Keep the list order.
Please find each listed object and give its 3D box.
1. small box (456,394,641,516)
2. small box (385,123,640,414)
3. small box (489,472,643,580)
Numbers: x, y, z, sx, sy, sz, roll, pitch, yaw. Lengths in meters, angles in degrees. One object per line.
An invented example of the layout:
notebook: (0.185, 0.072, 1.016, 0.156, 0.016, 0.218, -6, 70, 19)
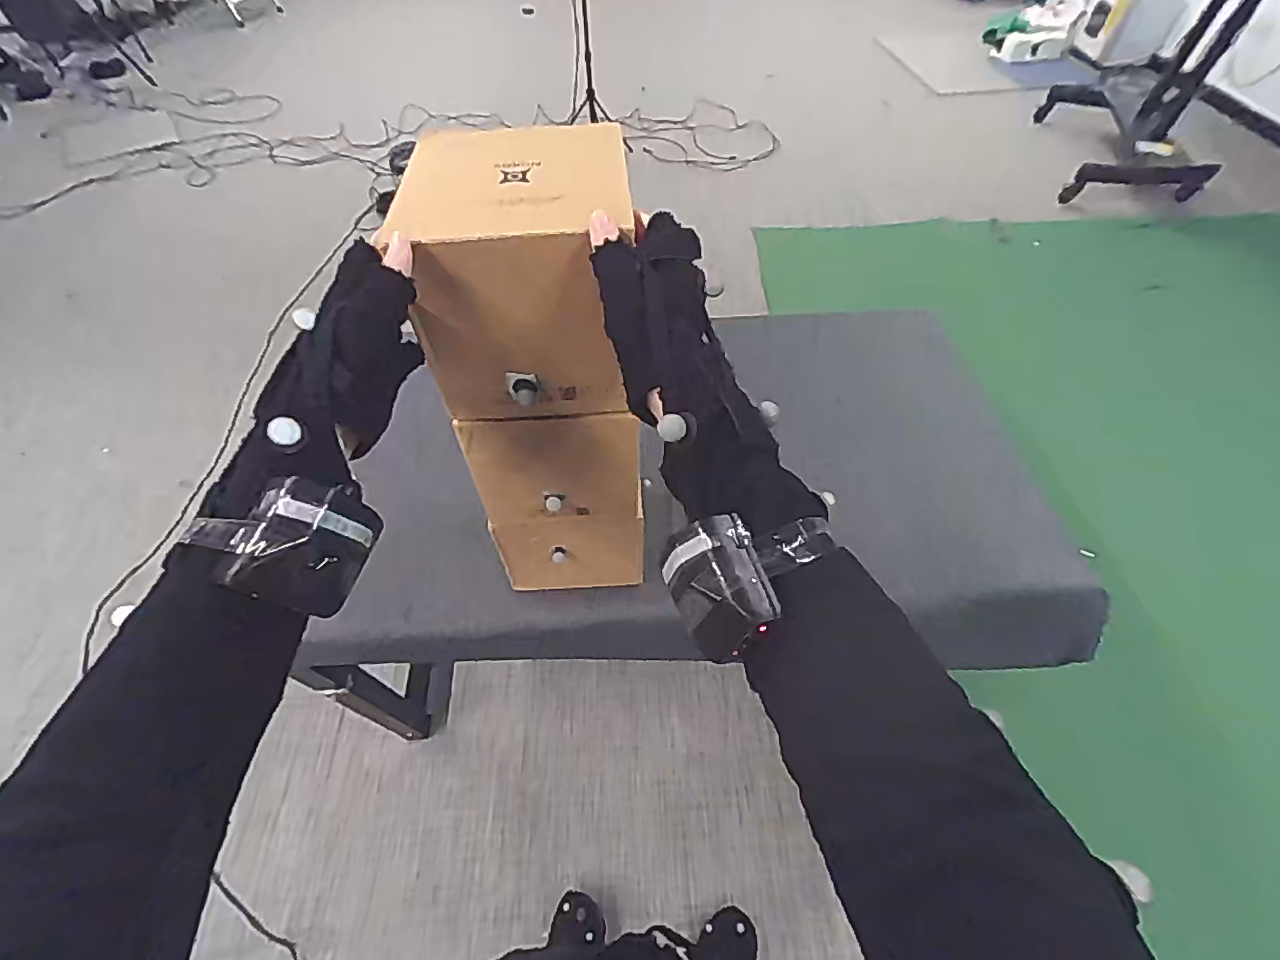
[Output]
small box: (-0.086, -0.078, 0.591, 0.168, 0.176, 0.179, -2, 54, -2)
small box: (-0.086, -0.176, 0.460, 0.168, 0.176, 0.179, -3, 53, -1)
small box: (-0.087, 0.024, 0.721, 0.179, 0.176, 0.168, -2, 54, -2)
